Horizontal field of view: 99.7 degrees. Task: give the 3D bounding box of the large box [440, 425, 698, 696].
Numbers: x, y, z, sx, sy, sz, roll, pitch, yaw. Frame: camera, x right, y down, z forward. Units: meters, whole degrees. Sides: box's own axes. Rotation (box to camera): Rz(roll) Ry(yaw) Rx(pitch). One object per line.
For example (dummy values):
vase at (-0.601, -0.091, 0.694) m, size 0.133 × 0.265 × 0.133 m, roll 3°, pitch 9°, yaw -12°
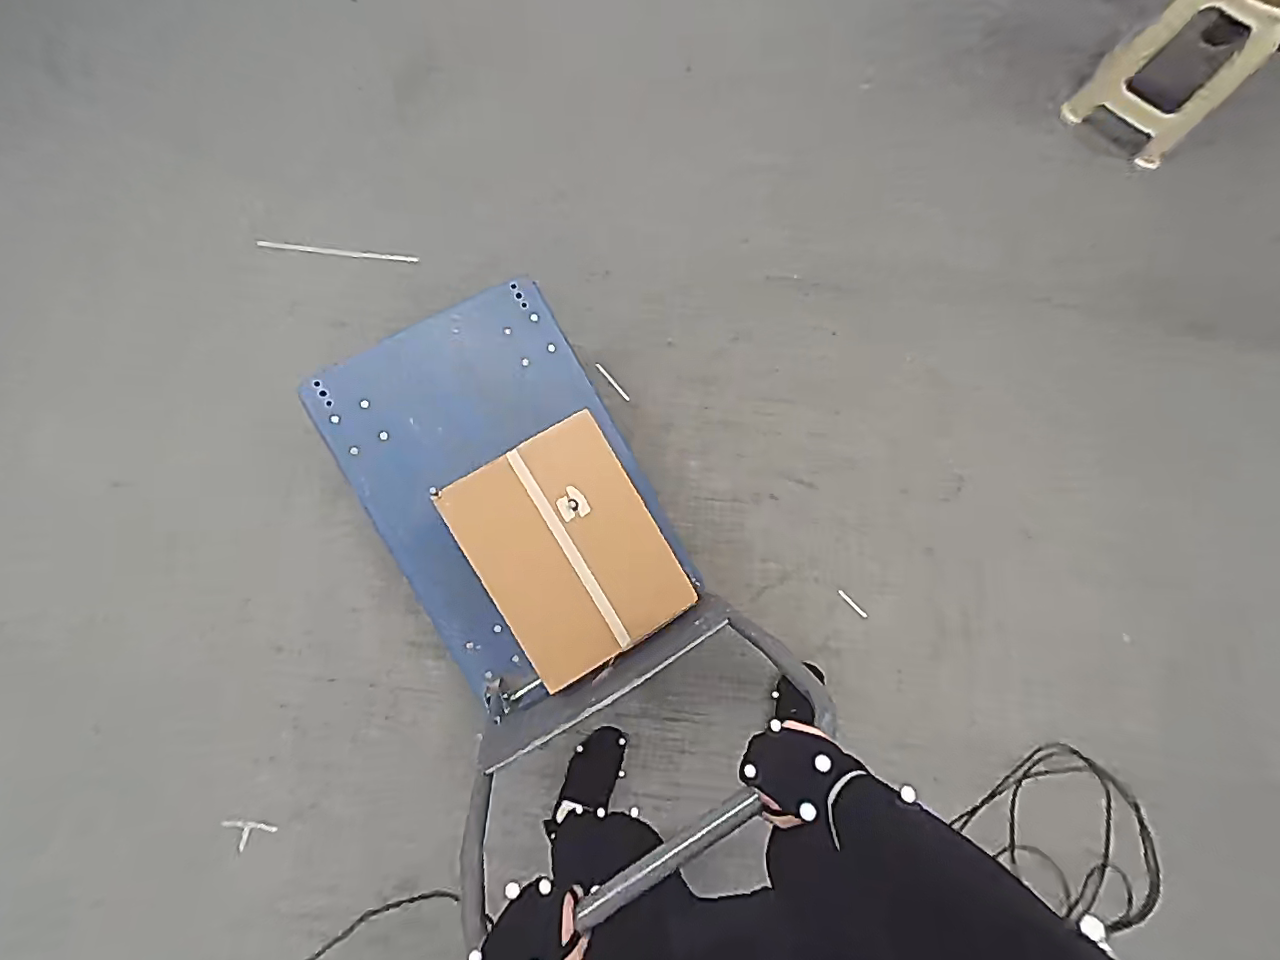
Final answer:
large box at (-0.139, 0.150, 1.120) m, size 0.320 × 0.320 × 0.408 m, roll -32°, pitch 92°, yaw -9°
